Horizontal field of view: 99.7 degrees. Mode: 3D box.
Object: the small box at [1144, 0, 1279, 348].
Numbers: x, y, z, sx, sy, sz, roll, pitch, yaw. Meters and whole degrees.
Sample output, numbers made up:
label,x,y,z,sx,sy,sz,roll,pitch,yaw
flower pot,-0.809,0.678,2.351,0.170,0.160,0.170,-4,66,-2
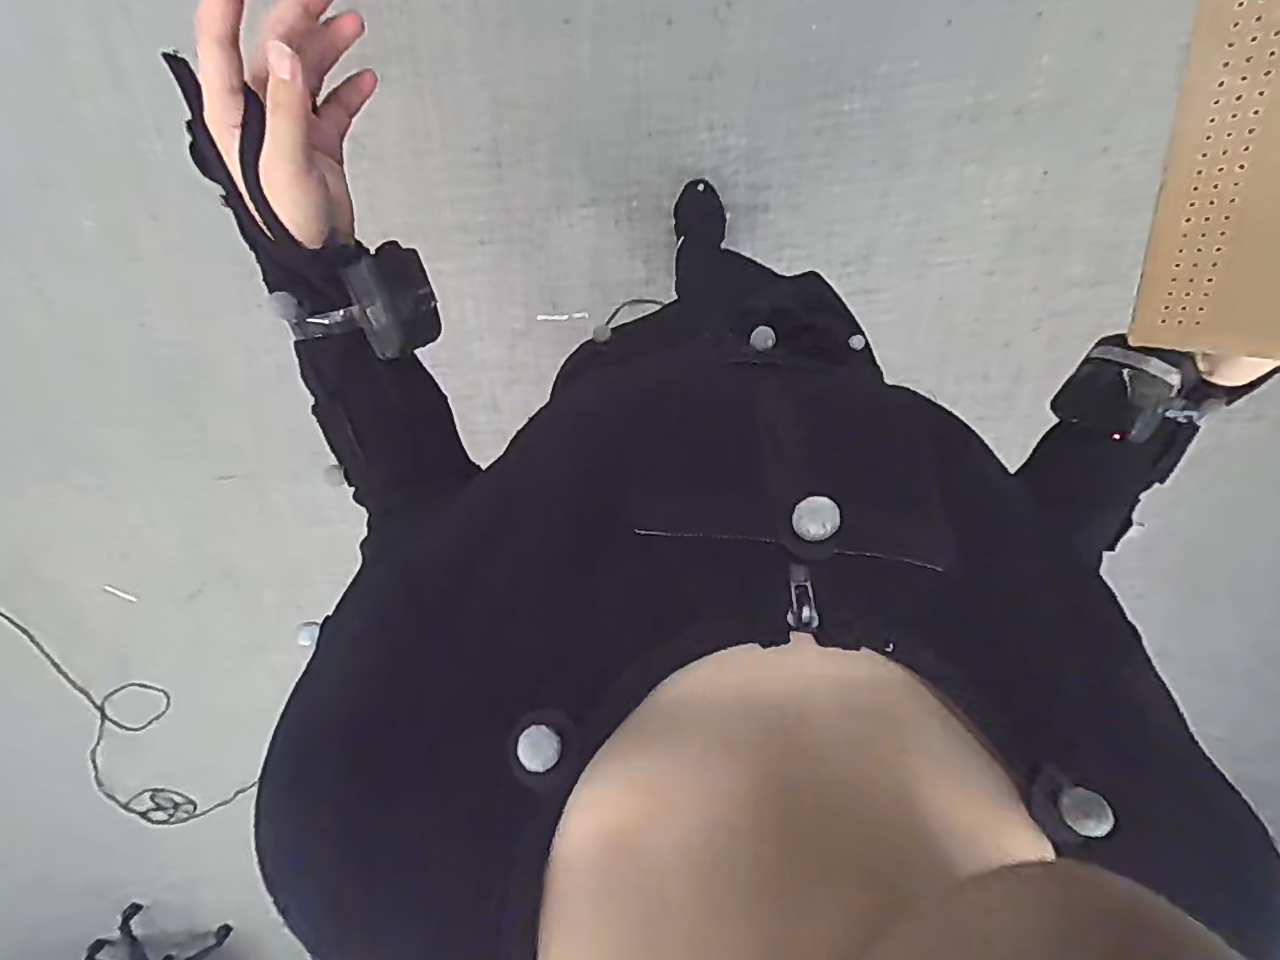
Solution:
label,x,y,z,sx,sy,sz,roll,pitch,yaw
small box,0.345,-0.149,0.203,0.168,0.176,0.179,-21,116,-16
